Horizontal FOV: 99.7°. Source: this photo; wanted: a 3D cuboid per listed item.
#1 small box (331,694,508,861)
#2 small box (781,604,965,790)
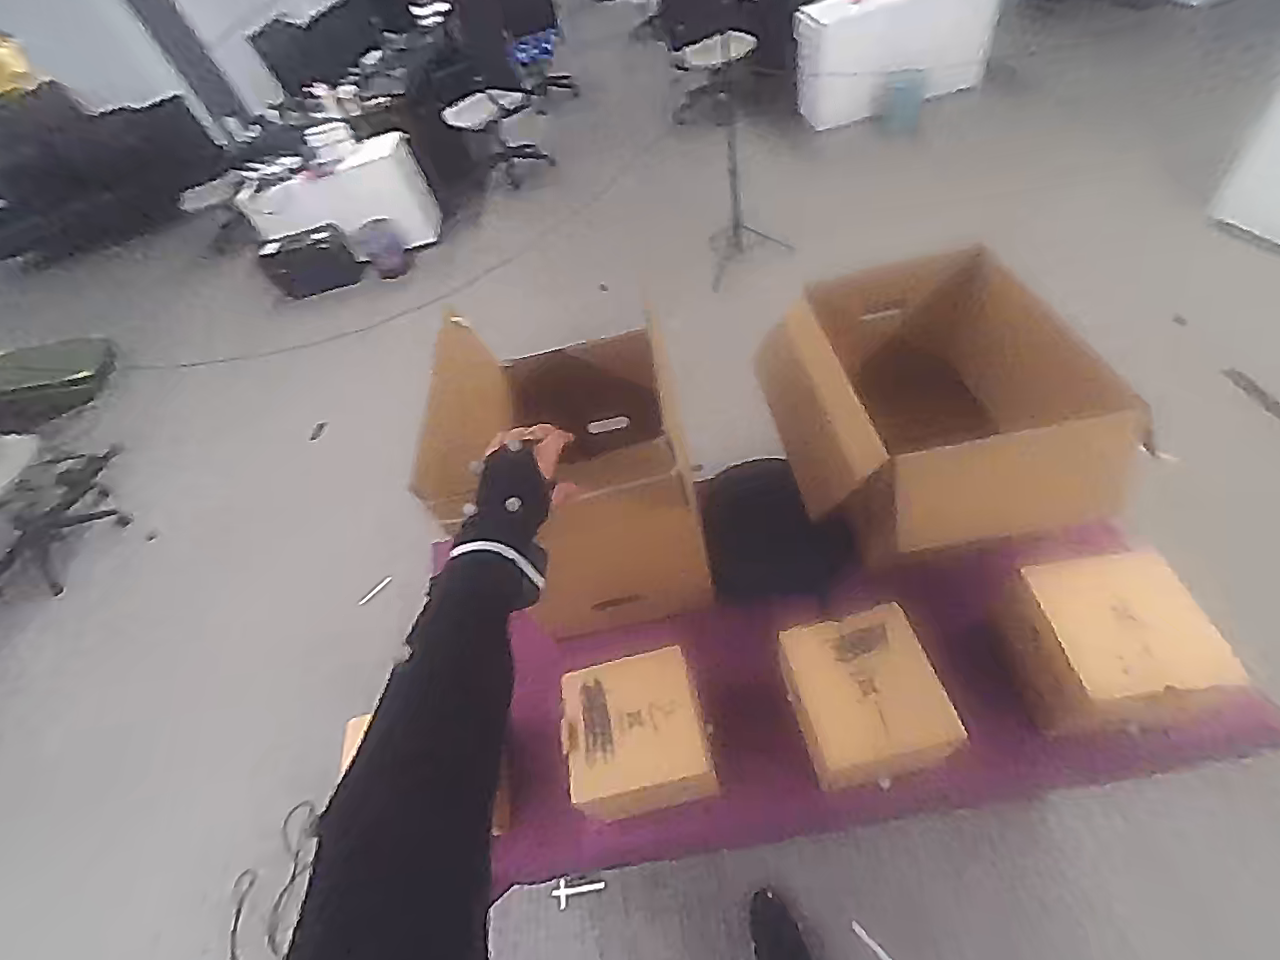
[{"bbox_3d":[-0.311,0.443,0.798,0.179,0.176,0.168,-16,50,1],"label":"small box"},{"bbox_3d":[0.298,0.298,0.737,0.168,0.176,0.179,-16,52,4],"label":"small box"}]
